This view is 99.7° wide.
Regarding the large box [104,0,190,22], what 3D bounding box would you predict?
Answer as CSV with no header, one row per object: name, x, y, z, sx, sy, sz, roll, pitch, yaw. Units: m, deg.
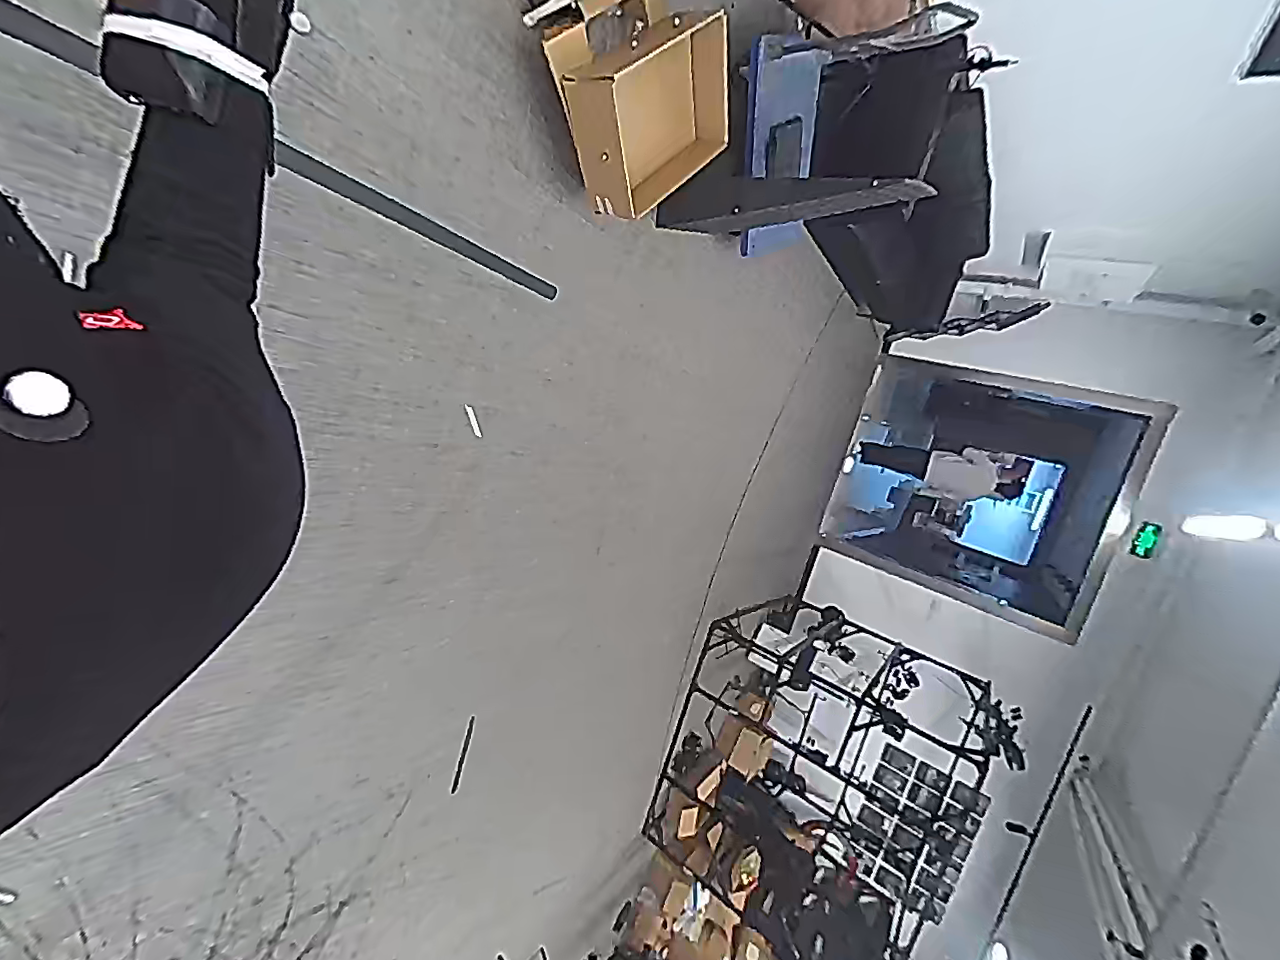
large box,-0.463,-0.491,0.209,0.408,0.320,0.320,-7,126,-58
